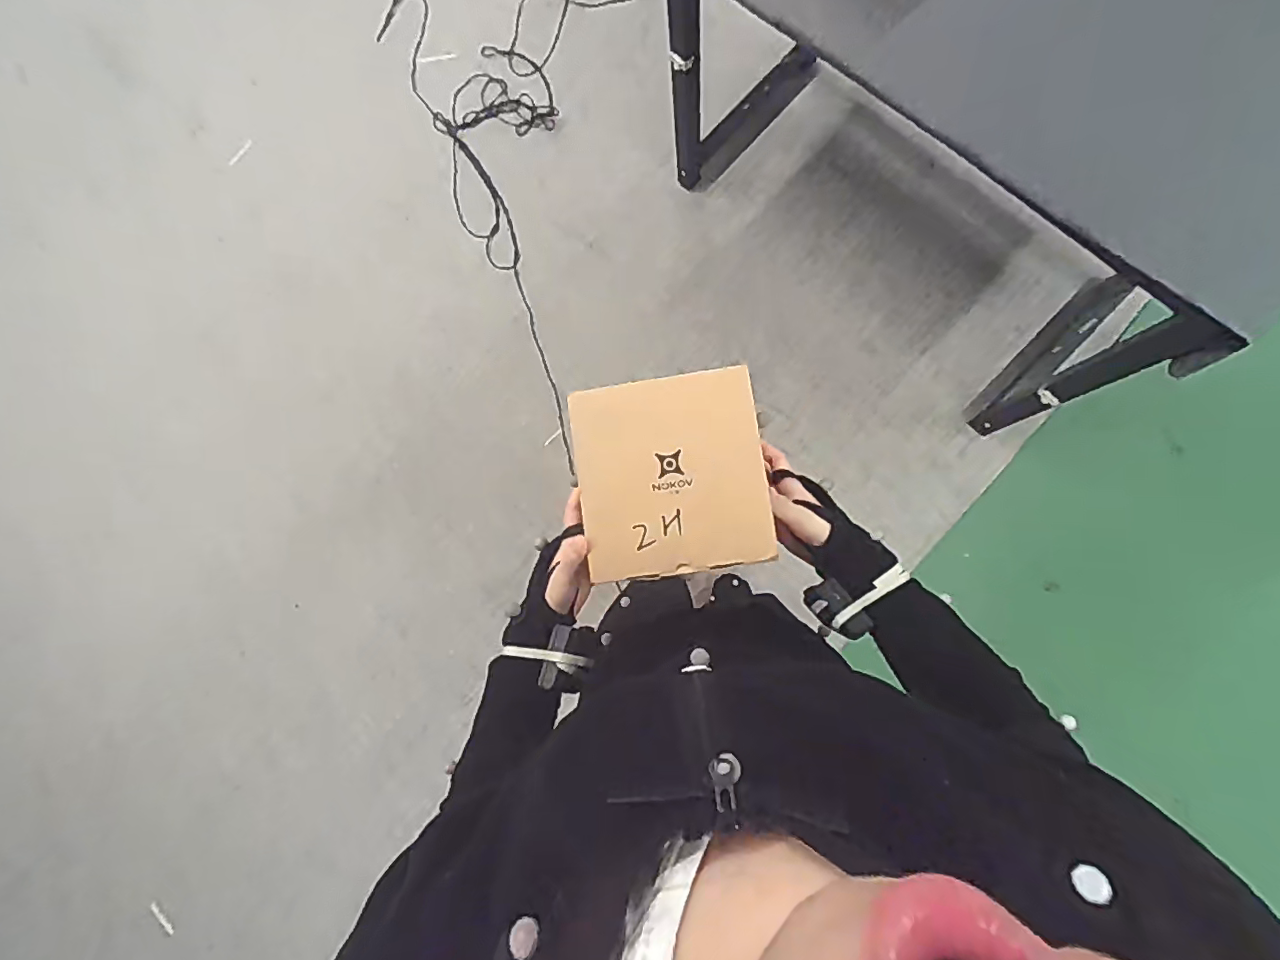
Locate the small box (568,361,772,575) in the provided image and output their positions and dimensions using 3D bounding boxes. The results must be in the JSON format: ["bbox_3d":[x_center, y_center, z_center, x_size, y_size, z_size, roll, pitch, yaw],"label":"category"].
[{"bbox_3d":[0.030,-0.004,0.556,0.168,0.176,0.179,-8,85,5],"label":"small box"}]
